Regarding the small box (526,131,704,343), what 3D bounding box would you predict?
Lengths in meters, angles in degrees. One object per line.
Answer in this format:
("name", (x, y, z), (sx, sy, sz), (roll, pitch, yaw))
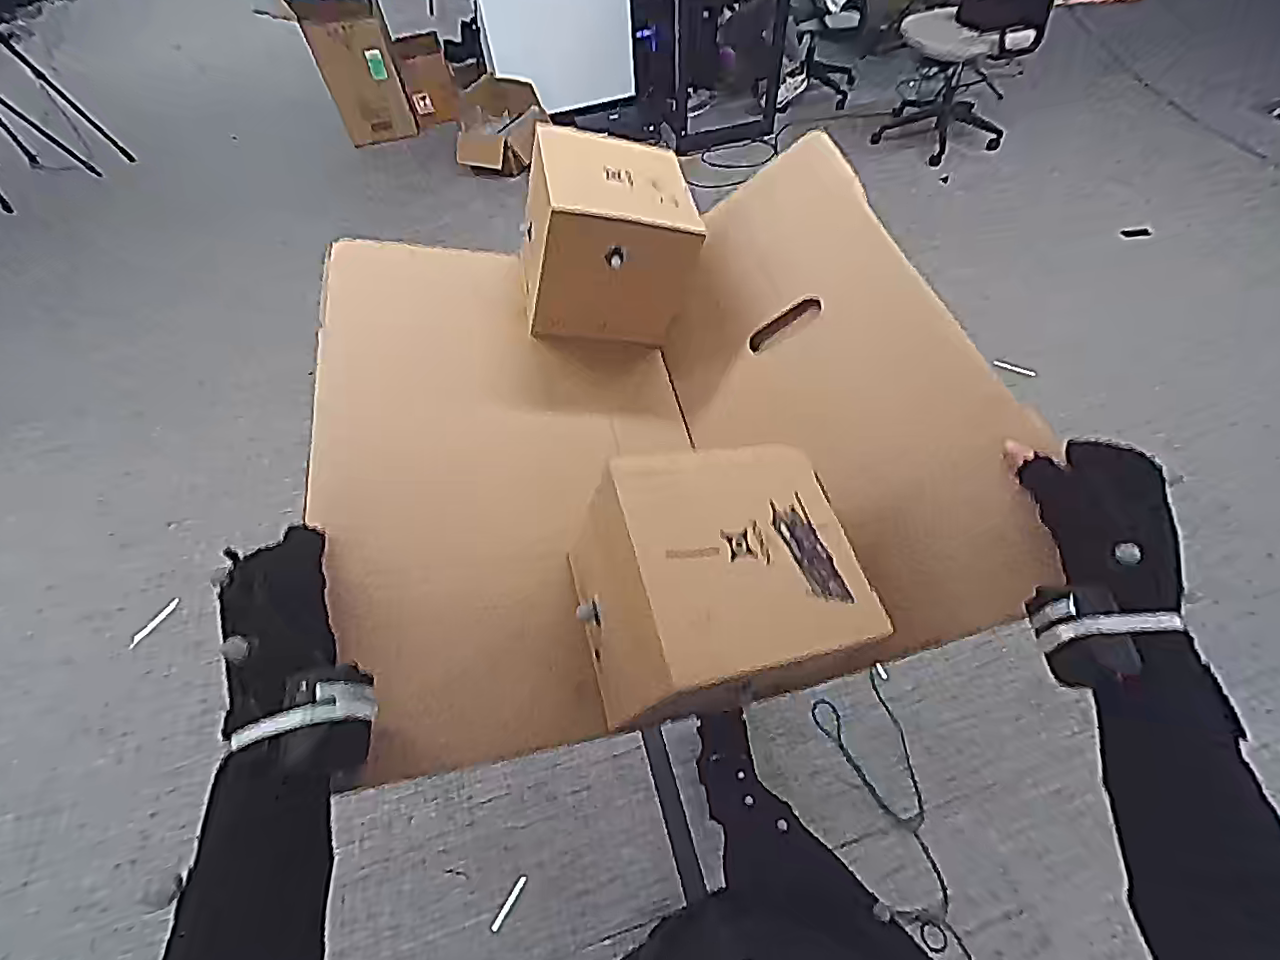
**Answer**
("small box", (-0.045, -0.291, 0.673), (0.179, 0.176, 0.168), (1, 58, -20))
